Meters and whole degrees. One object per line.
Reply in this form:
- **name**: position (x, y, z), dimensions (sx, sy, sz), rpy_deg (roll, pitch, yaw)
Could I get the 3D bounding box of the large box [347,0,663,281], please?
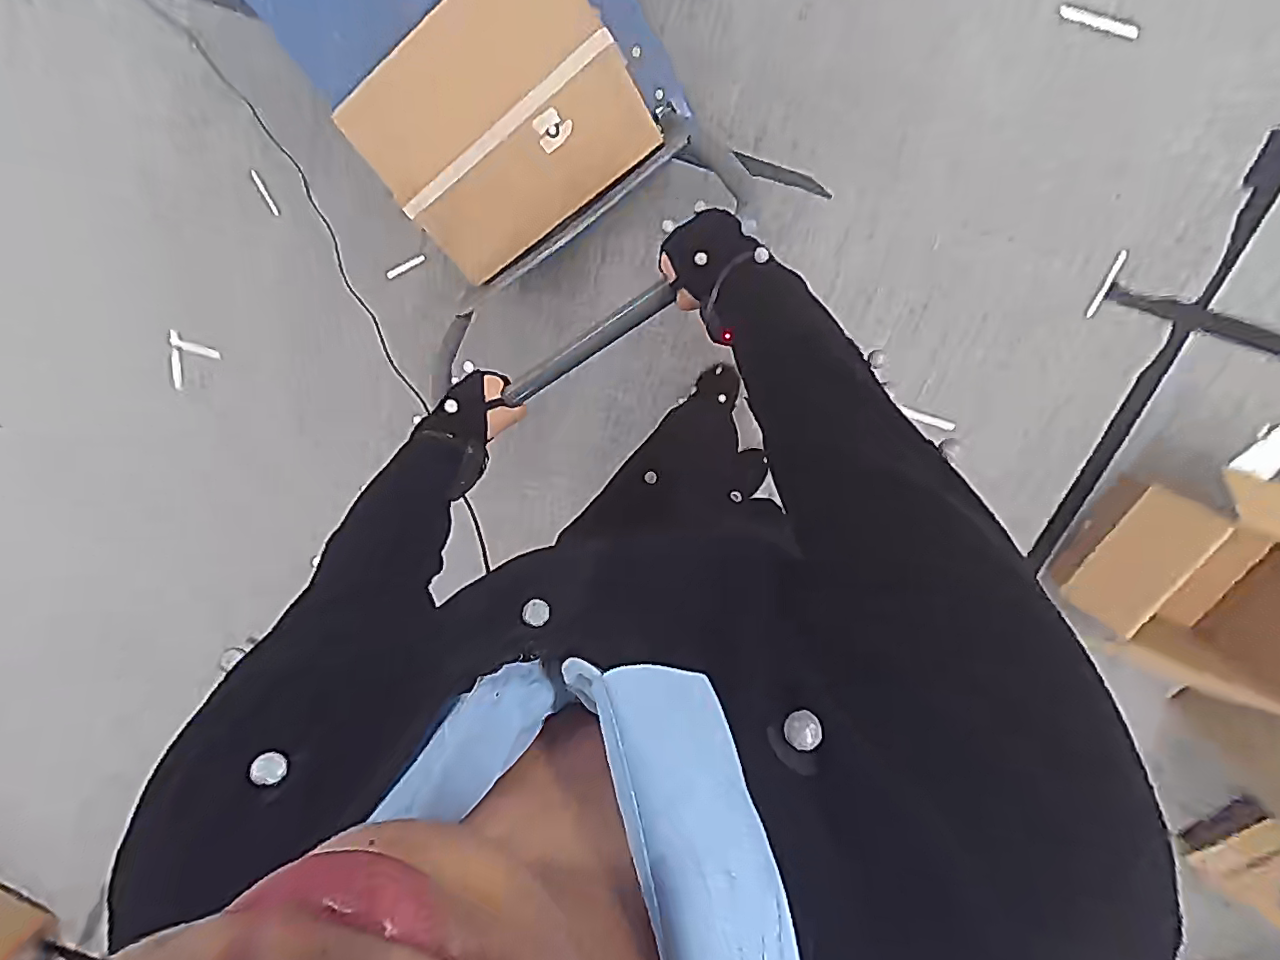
- **large box**: position (-0.217, -0.638, 0.967), dimensions (0.408, 0.320, 0.320), rpy_deg (-31, 122, 16)
